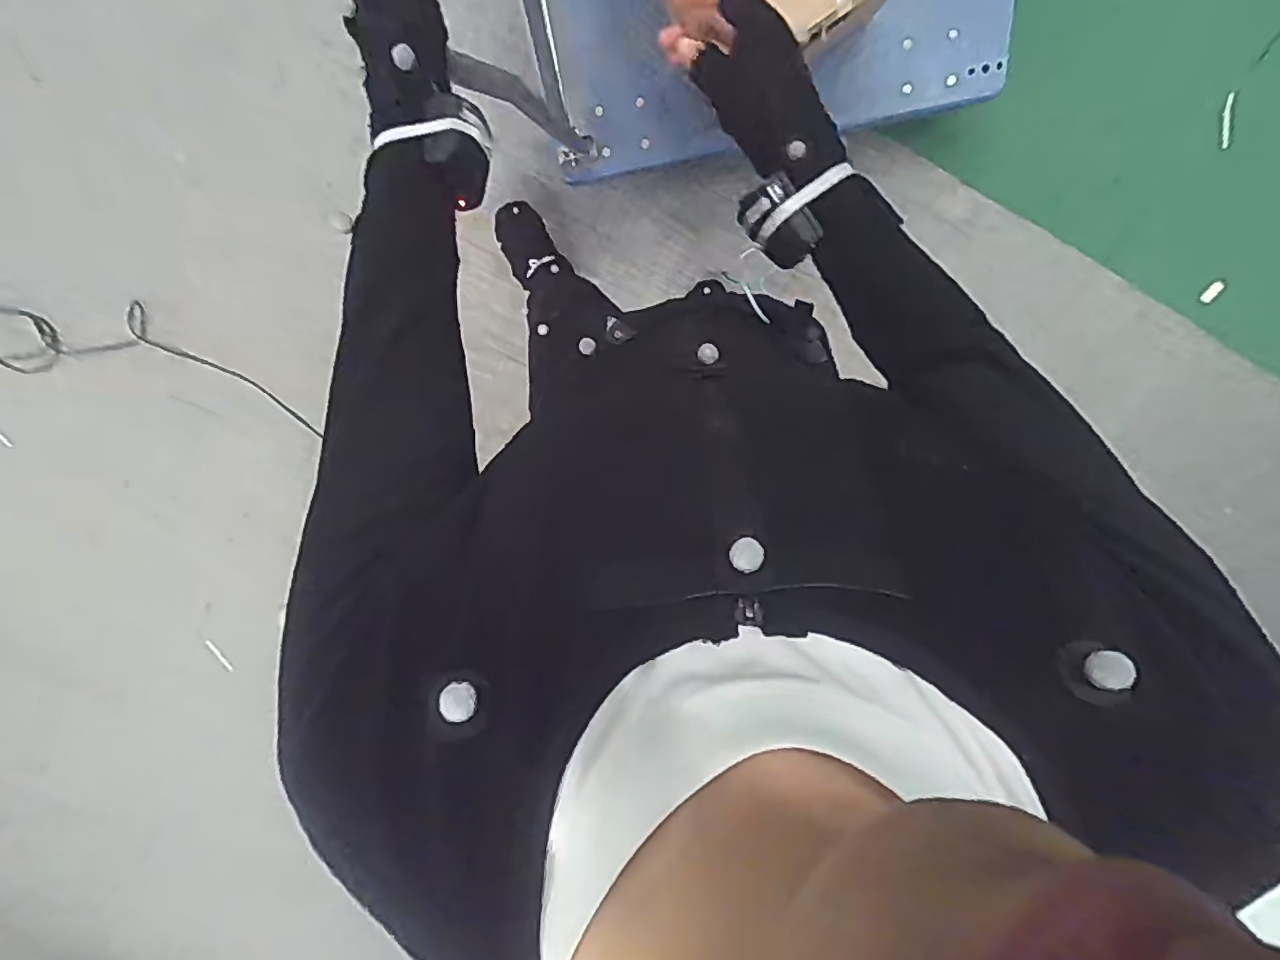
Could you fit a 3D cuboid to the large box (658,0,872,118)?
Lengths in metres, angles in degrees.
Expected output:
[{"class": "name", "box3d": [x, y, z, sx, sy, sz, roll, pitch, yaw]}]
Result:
[{"class": "large box", "box3d": [0.162, -0.869, 0.819, 0.320, 0.320, 0.408, -29, 108, 14]}]
